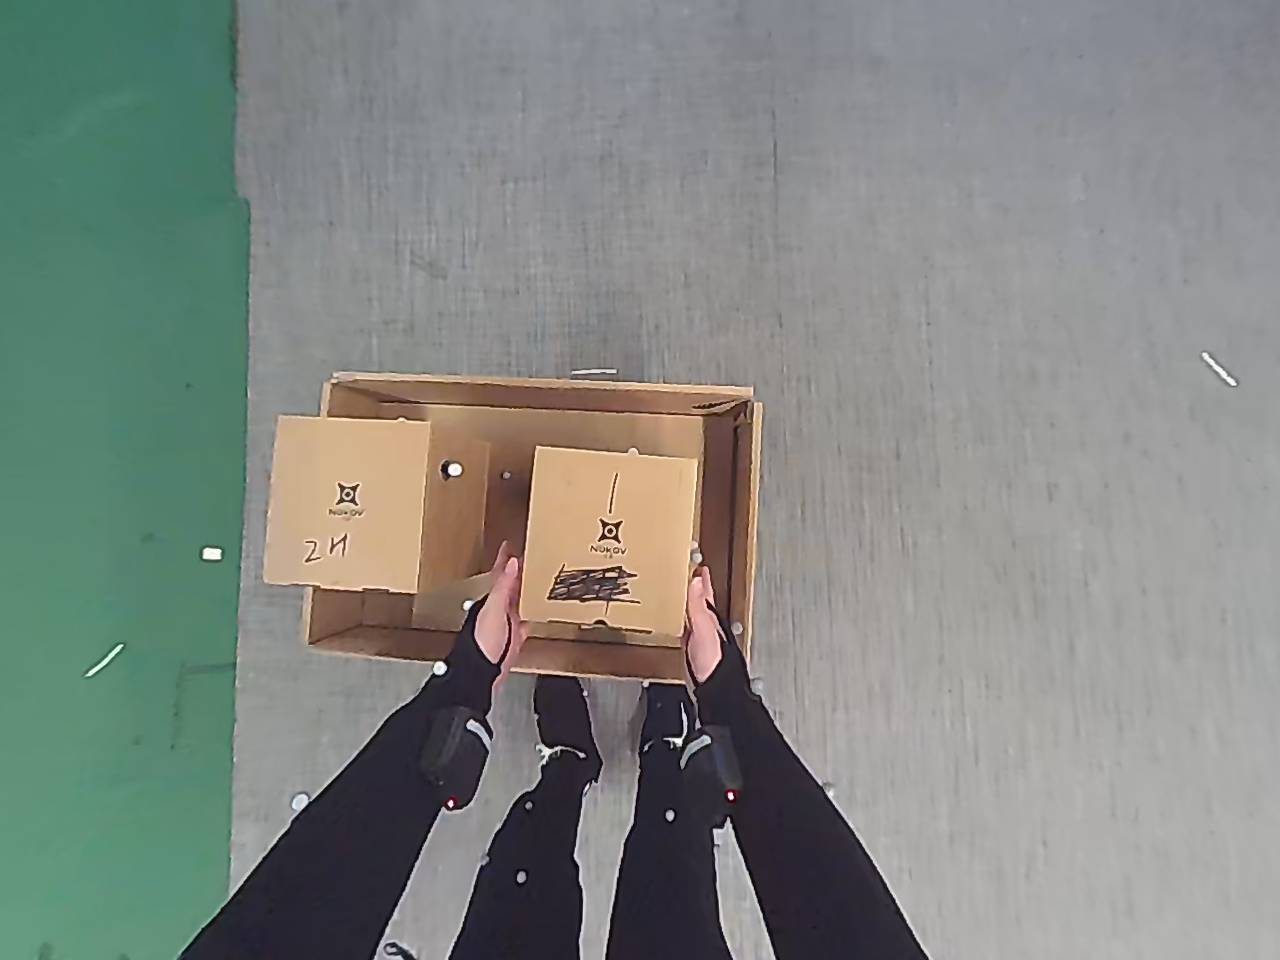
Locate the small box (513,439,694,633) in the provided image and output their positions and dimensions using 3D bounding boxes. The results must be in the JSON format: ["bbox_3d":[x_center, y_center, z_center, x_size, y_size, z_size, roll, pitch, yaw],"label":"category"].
[{"bbox_3d":[-0.031,0.057,0.605,0.168,0.176,0.179,5,87,4],"label":"small box"}]

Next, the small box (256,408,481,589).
[{"bbox_3d":[-0.293,0.023,0.622,0.168,0.176,0.179,3,87,4],"label":"small box"}]
